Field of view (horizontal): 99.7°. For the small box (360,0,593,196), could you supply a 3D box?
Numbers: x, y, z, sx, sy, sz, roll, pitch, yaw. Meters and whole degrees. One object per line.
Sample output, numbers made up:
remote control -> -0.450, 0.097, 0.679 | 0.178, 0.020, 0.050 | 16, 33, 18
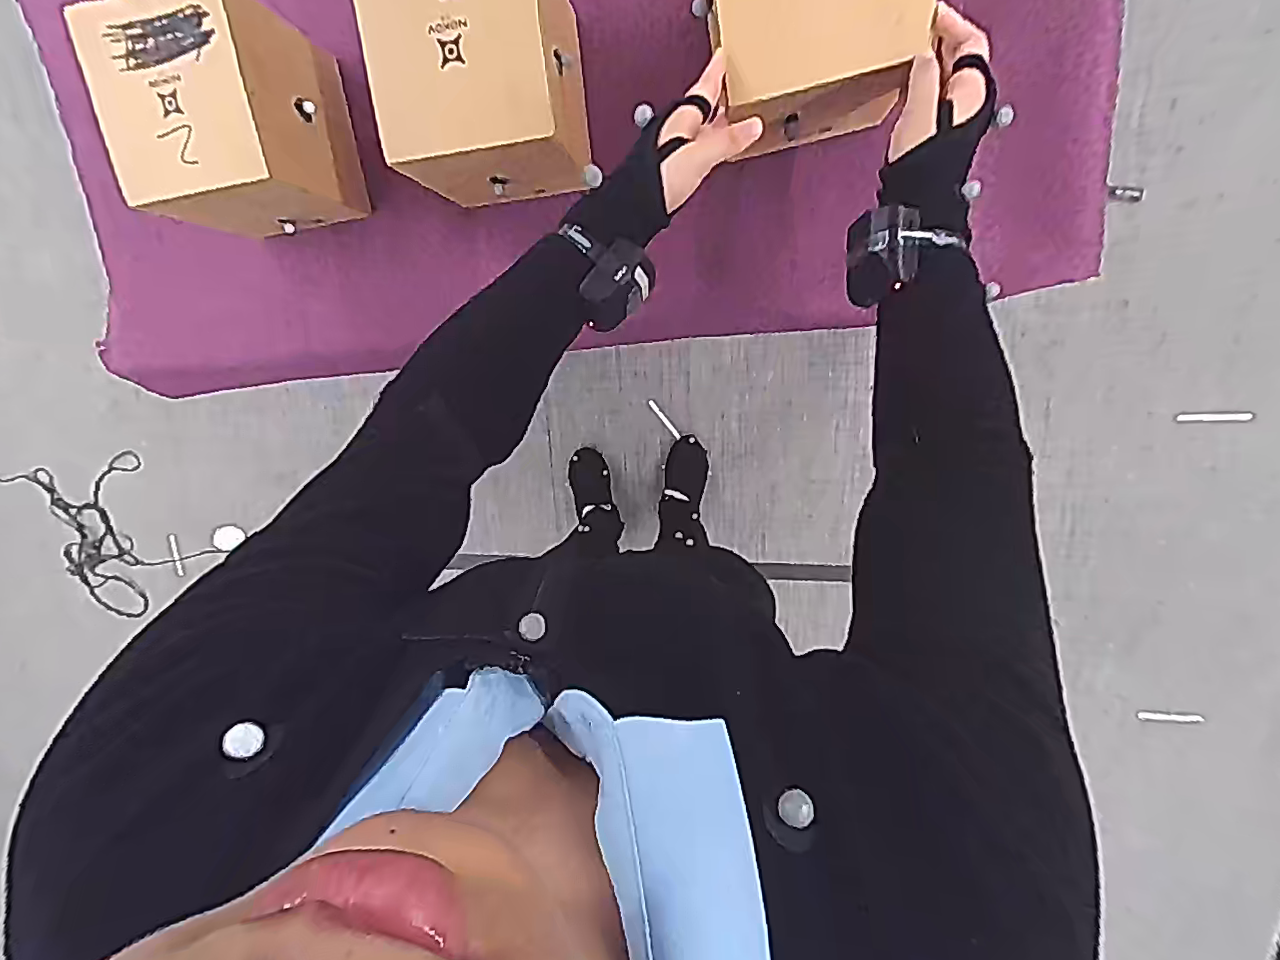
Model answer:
small box -> -0.149, -0.403, 0.546 | 0.168, 0.176, 0.179 | -4, 103, 8

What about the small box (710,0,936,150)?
small box -> 0.154, -0.431, 0.499 | 0.168, 0.176, 0.179 | -8, 104, 11
